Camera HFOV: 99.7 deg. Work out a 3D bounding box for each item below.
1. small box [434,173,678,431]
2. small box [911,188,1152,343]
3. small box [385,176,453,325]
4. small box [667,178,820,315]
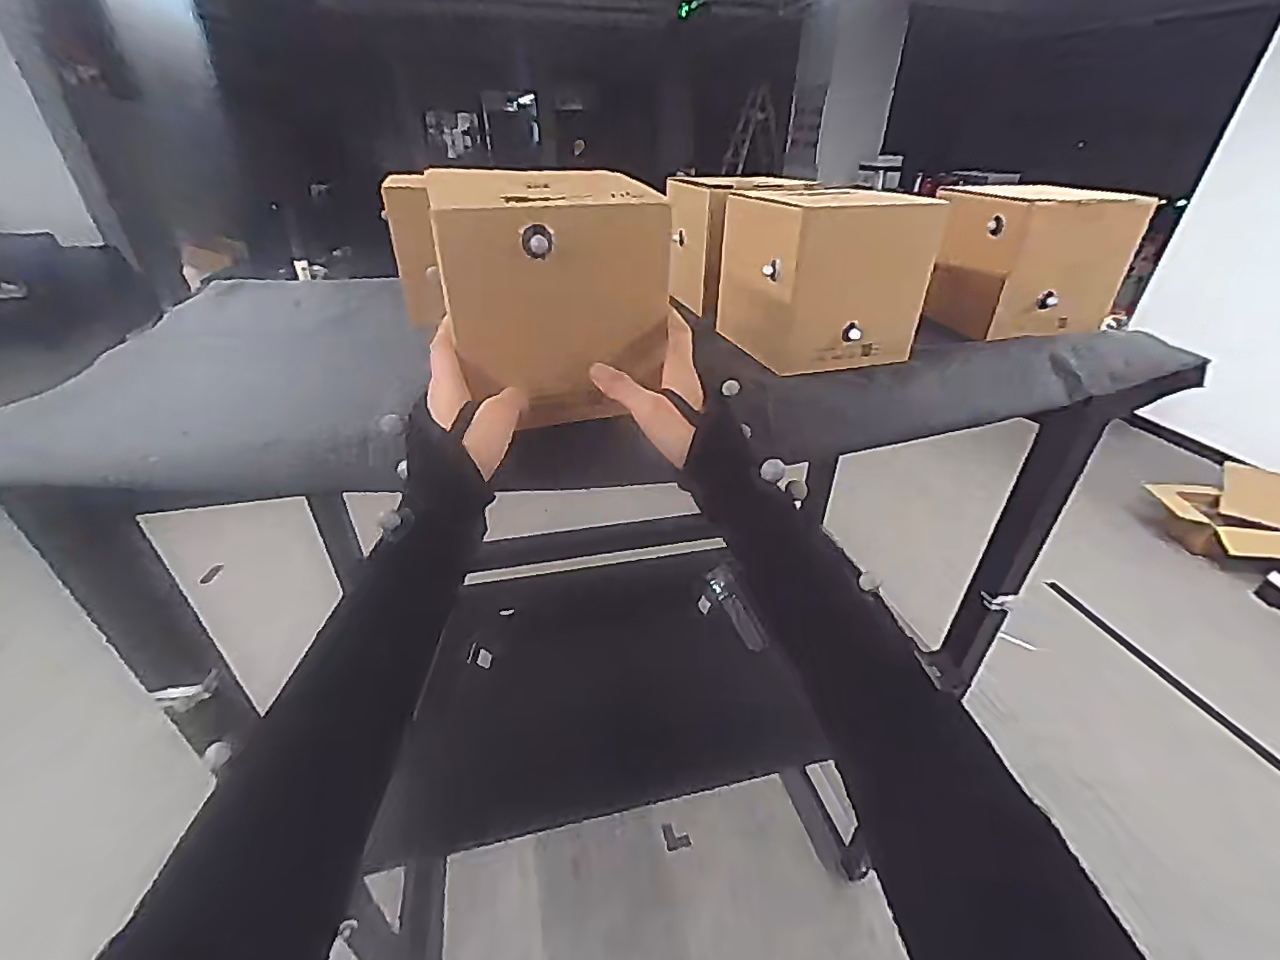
[{"bbox_3d":[-0.078,-0.161,0.468,0.168,0.176,0.179,-10,37,-16],"label":"small box"},{"bbox_3d":[0.500,-0.291,0.728,0.168,0.176,0.179,-5,33,-8],"label":"small box"},{"bbox_3d":[-0.246,-0.326,0.763,0.168,0.176,0.179,-9,35,-15],"label":"small box"},{"bbox_3d":[0.142,-0.351,0.813,0.168,0.176,0.179,-8,33,-14],"label":"small box"}]
